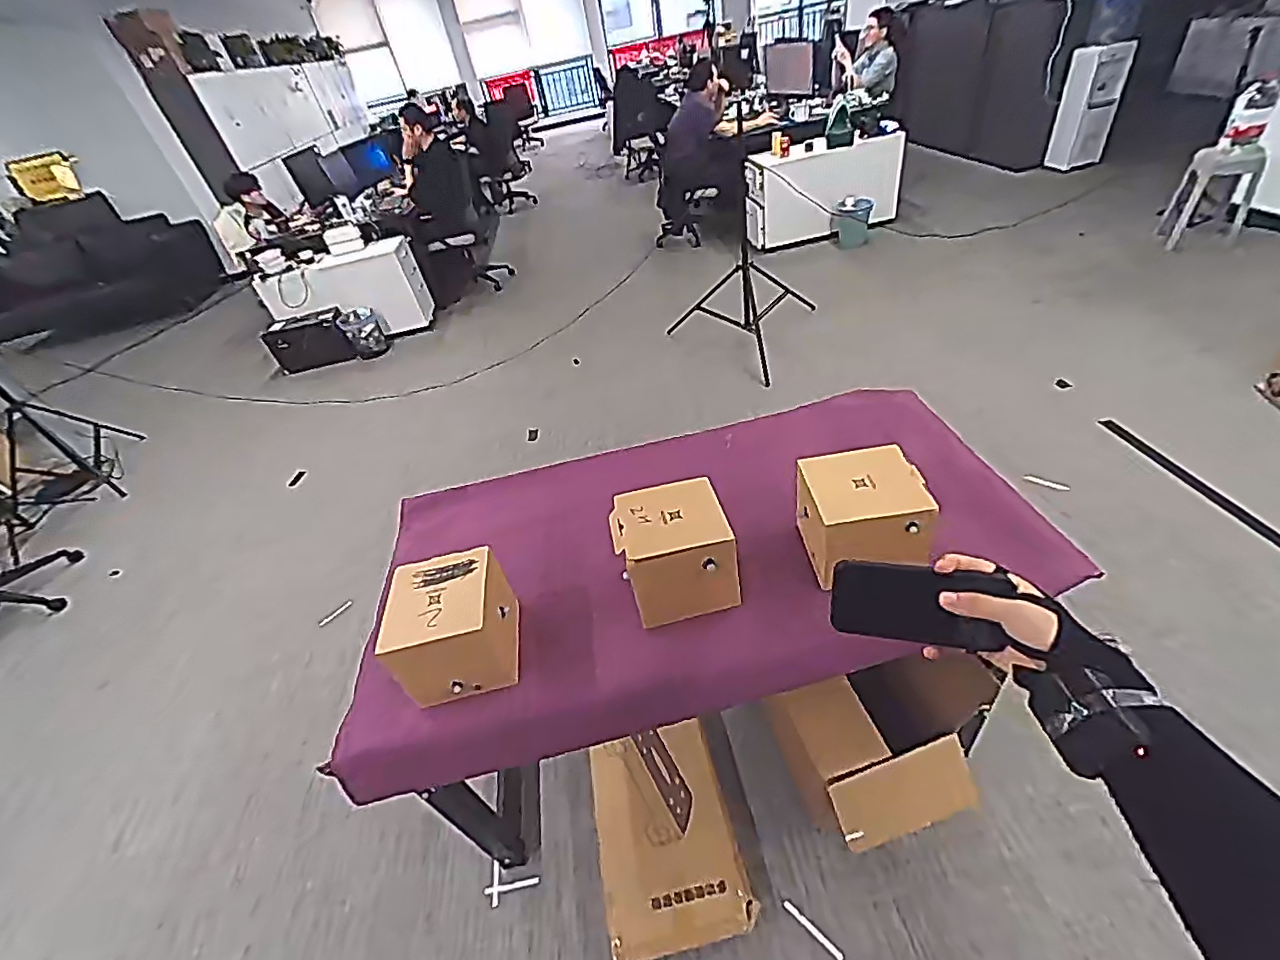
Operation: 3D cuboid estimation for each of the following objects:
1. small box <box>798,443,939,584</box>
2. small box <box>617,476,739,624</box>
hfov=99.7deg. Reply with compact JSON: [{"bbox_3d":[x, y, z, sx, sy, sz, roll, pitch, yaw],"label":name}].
[{"bbox_3d":[0.380,0.062,0.933,0.179,0.176,0.168,-9,40,4],"label":"small box"},{"bbox_3d":[0.067,0.123,0.943,0.179,0.176,0.168,-14,38,-1],"label":"small box"}]
